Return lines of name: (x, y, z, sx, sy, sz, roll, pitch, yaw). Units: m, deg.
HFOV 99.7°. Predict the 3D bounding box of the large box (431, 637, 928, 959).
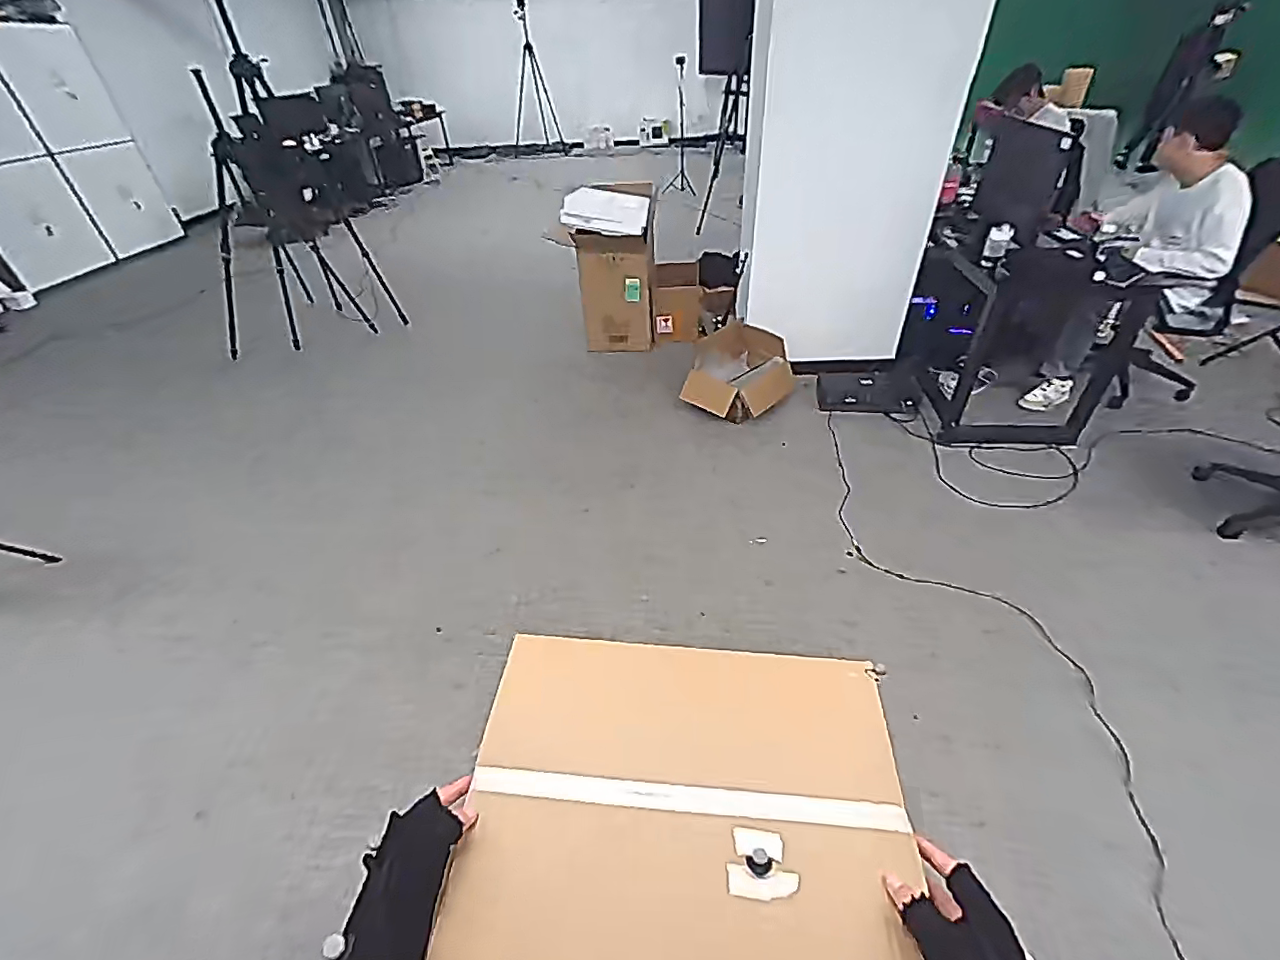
large box: (0.042, 0.410, 0.619, 0.408, 0.320, 0.320, 4, 43, 5)
